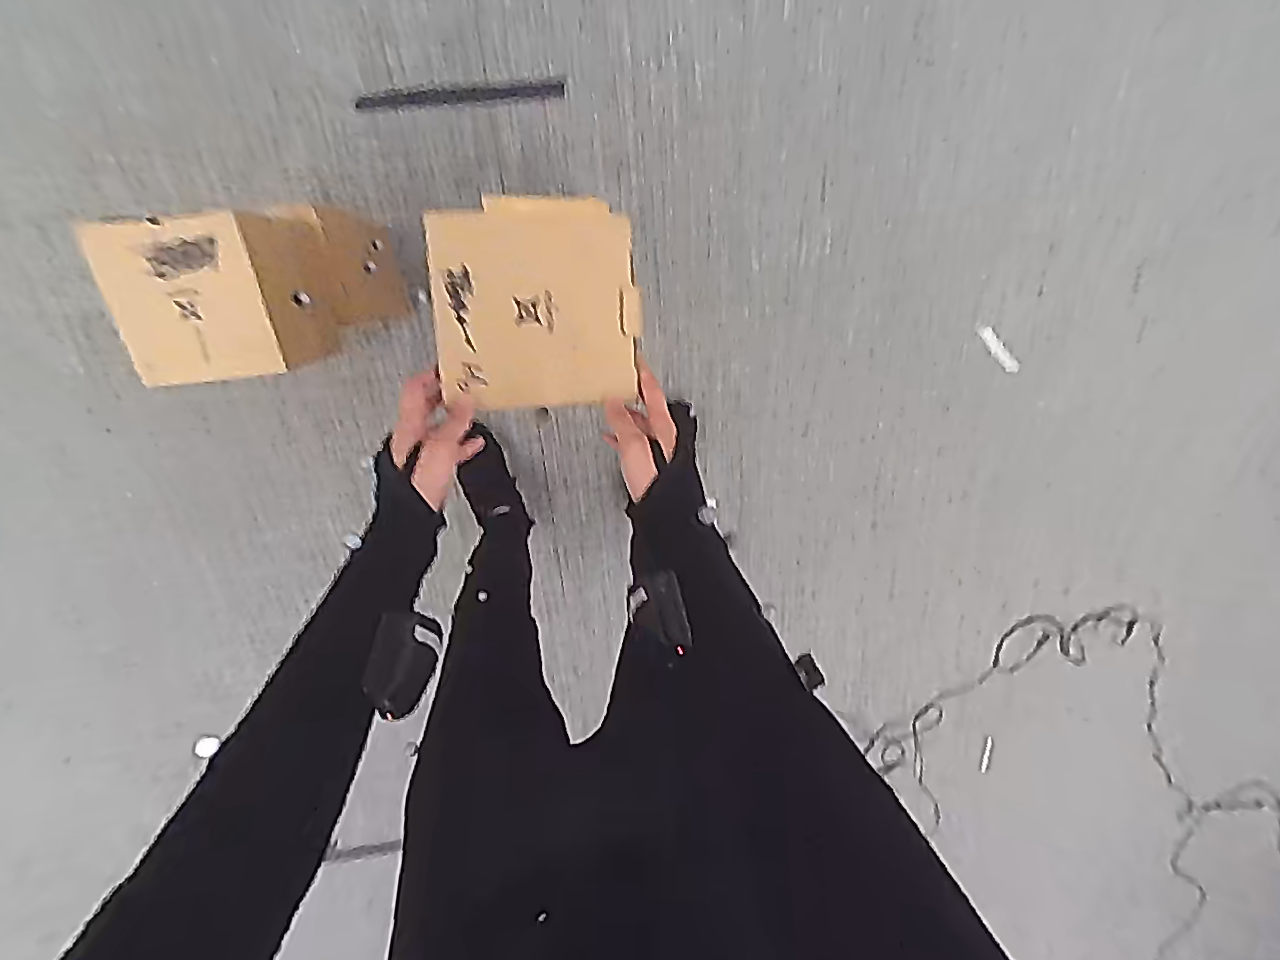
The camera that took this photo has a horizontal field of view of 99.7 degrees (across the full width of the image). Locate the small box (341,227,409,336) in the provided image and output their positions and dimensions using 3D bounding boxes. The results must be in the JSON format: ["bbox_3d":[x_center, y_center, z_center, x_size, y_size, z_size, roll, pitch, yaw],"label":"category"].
[{"bbox_3d":[-0.542,-0.354,0.974,0.168,0.176,0.179,-10,112,-3],"label":"small box"}]

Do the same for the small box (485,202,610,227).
[{"bbox_3d":[-0.140,-0.335,0.857,0.179,0.176,0.168,-2,111,-7],"label":"small box"}]

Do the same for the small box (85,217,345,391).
[{"bbox_3d":[-0.505,-0.220,0.676,0.168,0.176,0.179,-7,112,-3],"label":"small box"}]

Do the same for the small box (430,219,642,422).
[{"bbox_3d":[-0.102,-0.147,0.545,0.179,0.176,0.168,-4,98,-11],"label":"small box"}]

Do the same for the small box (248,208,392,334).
[{"bbox_3d":[-0.510,-0.302,0.821,0.179,0.176,0.168,-11,111,-3],"label":"small box"}]
